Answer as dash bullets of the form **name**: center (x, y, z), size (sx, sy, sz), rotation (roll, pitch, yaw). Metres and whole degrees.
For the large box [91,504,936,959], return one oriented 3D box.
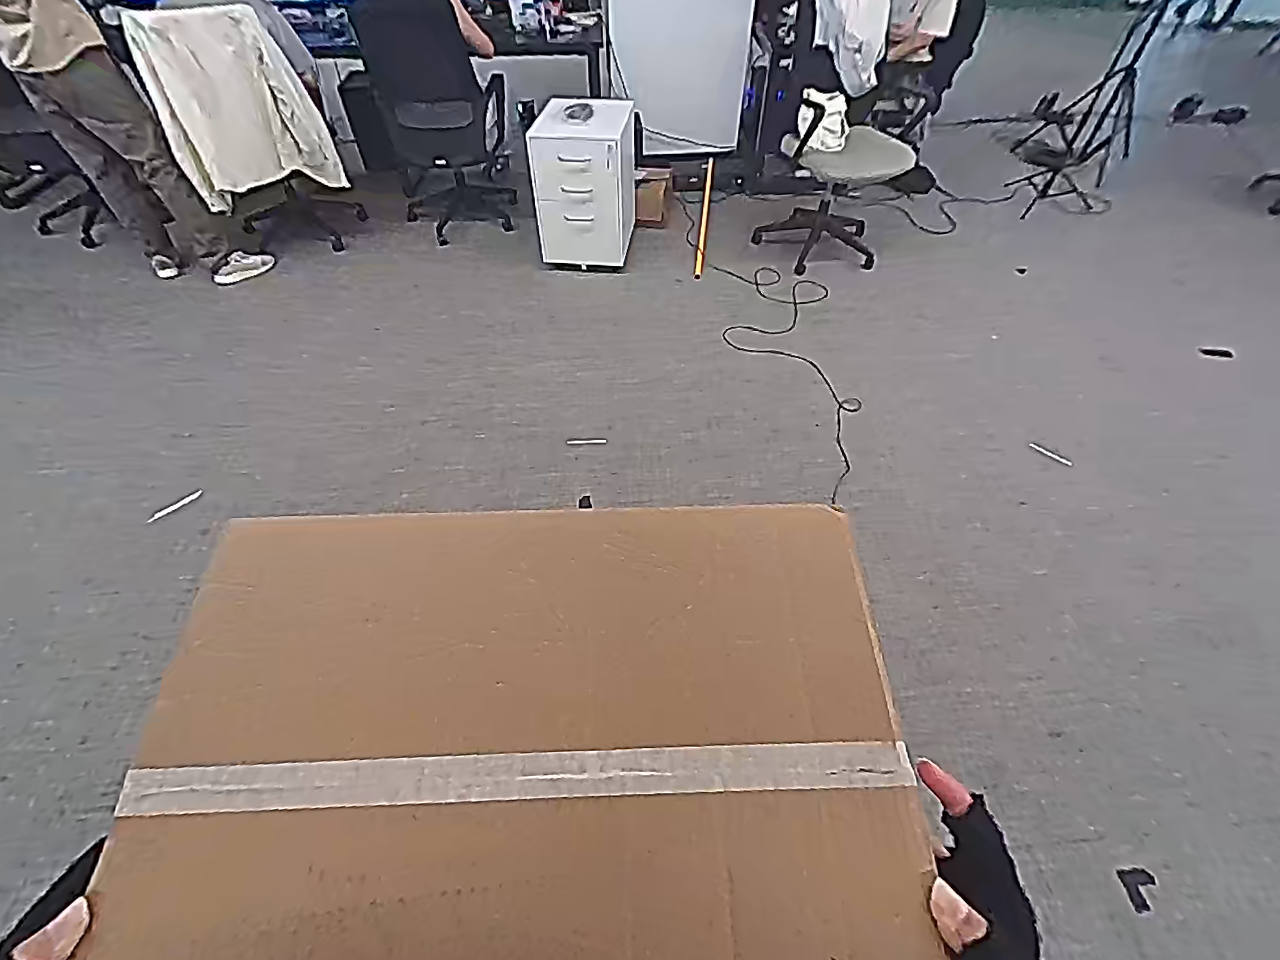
- **large box**: center (-0.063, 0.231, 0.424), size (0.408, 0.320, 0.320), rotation (-1, 60, -1)
